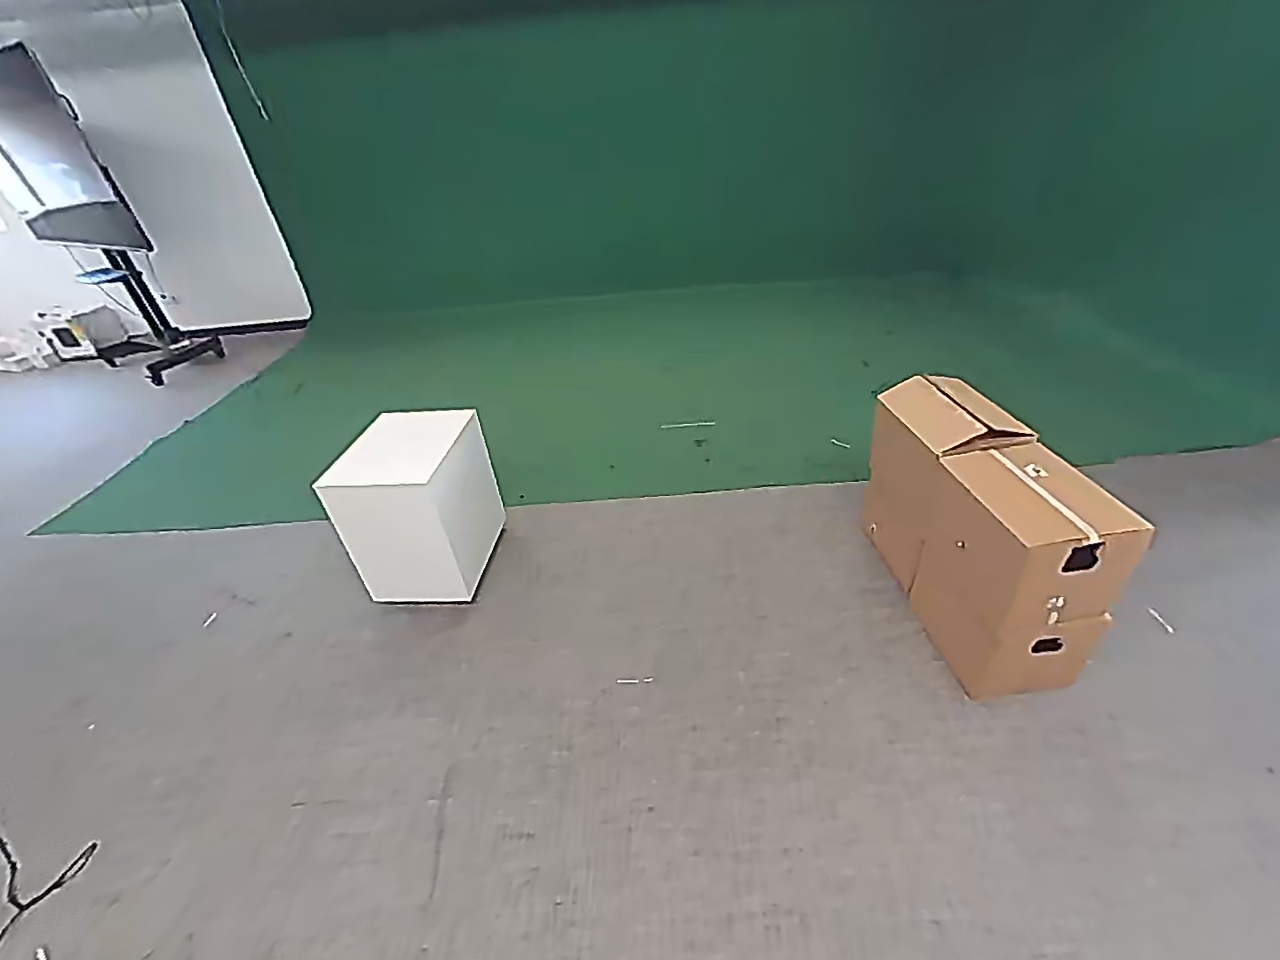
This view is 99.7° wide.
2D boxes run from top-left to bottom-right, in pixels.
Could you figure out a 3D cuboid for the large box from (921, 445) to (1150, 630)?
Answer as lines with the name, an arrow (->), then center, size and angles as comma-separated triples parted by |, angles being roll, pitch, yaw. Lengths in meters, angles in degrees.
large box -> 1.061, 0.150, 1.521 | 0.320, 0.320, 0.408 | -8, 34, -1
